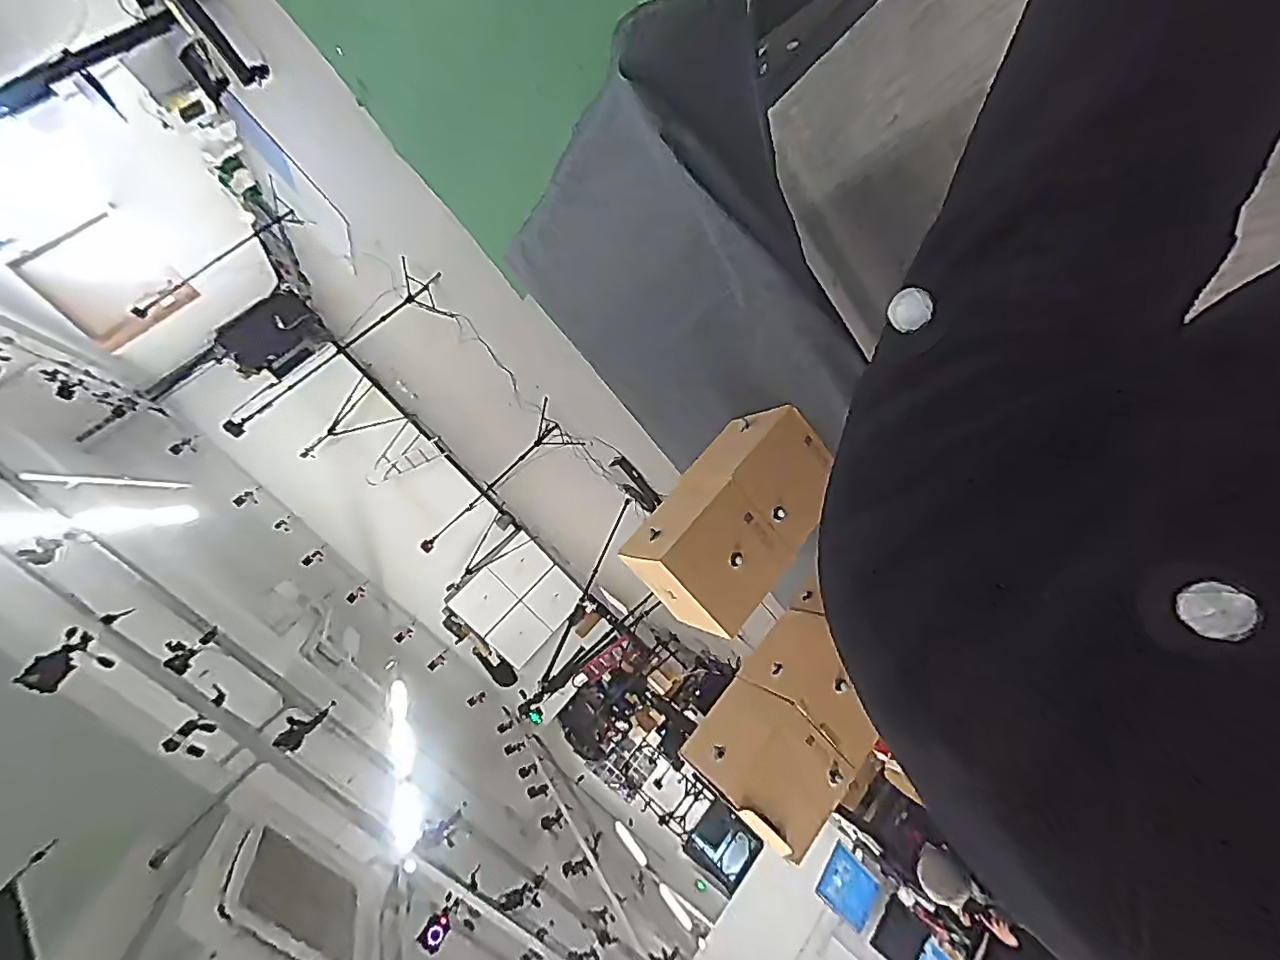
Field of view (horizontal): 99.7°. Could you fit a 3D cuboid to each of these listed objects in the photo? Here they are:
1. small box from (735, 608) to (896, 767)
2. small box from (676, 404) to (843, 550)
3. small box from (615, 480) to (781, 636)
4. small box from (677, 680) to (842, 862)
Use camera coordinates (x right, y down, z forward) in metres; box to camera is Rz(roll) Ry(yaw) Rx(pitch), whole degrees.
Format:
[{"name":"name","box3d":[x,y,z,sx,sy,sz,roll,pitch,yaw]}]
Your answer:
[{"name":"small box","box3d":[0.306,0.342,0.930,0.168,0.176,0.179,48,162,-11]},{"name":"small box","box3d":[0.199,-0.005,0.908,0.168,0.176,0.179,48,161,-14]},{"name":"small box","box3d":[0.096,0.114,0.854,0.168,0.176,0.179,49,160,-13]},{"name":"small box","box3d":[0.197,0.454,0.879,0.168,0.176,0.179,48,162,-9]}]
